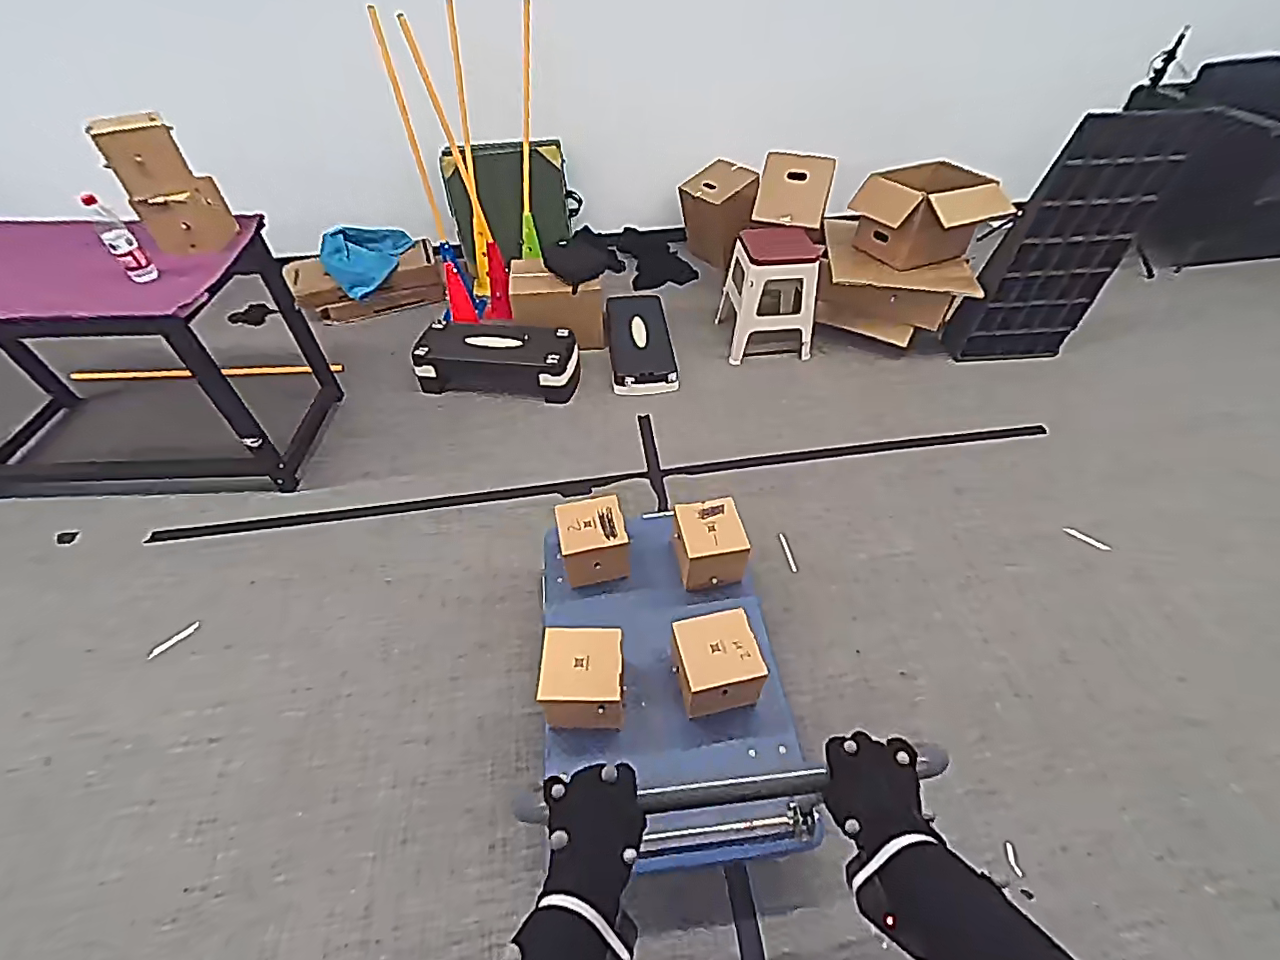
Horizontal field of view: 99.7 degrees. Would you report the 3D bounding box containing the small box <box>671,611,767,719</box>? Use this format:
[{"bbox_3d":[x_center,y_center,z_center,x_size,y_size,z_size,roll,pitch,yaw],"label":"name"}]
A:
[{"bbox_3d":[0.174,0.432,1.251,0.179,0.176,0.168,-10,49,-8],"label":"small box"}]

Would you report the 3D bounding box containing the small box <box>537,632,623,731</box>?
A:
[{"bbox_3d":[-0.128,0.460,1.228,0.179,0.176,0.168,0,47,-1],"label":"small box"}]

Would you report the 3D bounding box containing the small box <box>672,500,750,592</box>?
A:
[{"bbox_3d":[0.186,0.181,1.477,0.168,0.176,0.179,-8,50,-7],"label":"small box"}]
